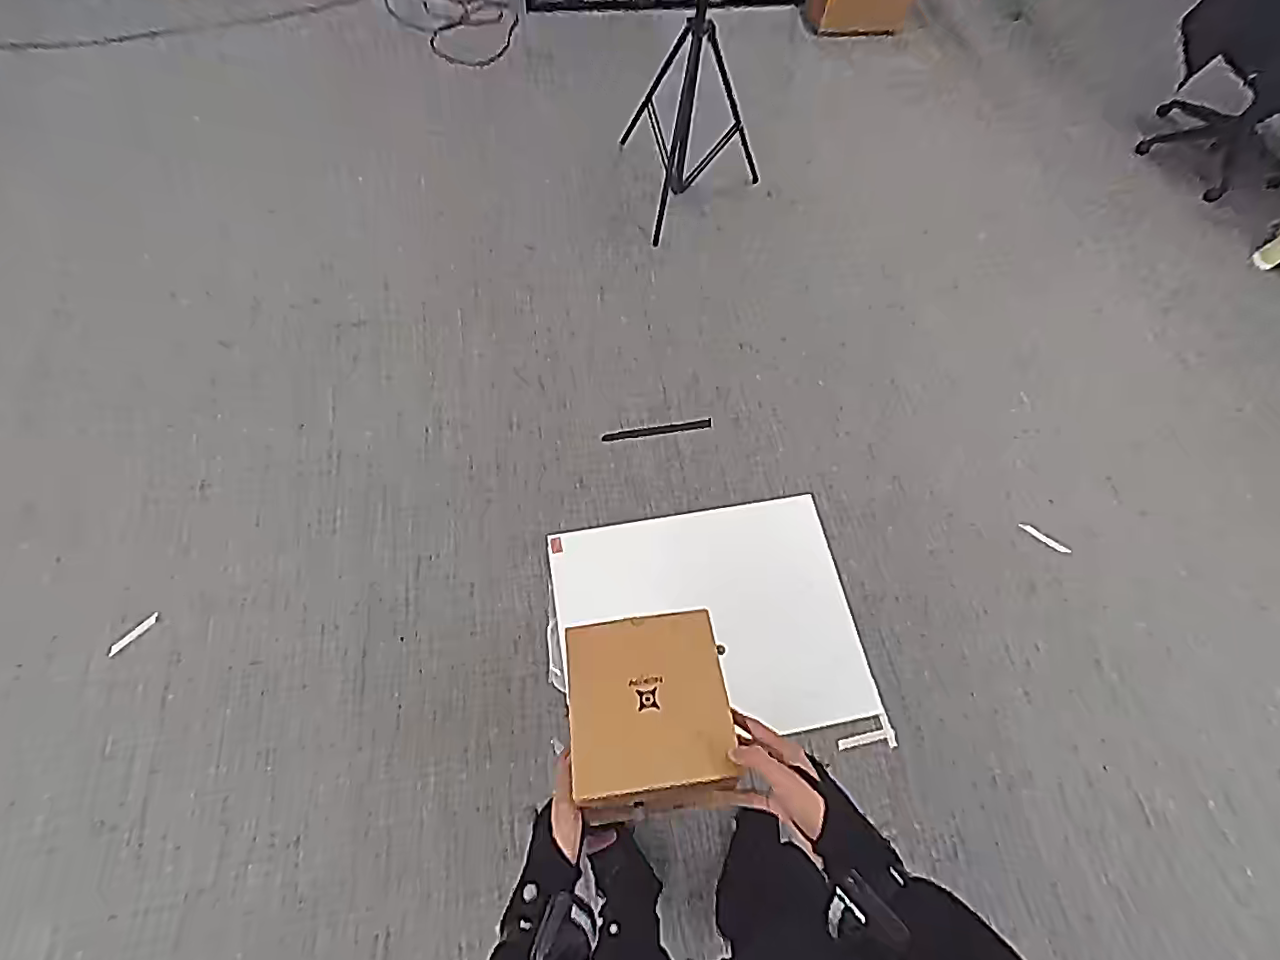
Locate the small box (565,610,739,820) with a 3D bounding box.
[{"bbox_3d":[0.009,0.276,0.624,0.168,0.176,0.179,-7,49,-3],"label":"small box"}]
